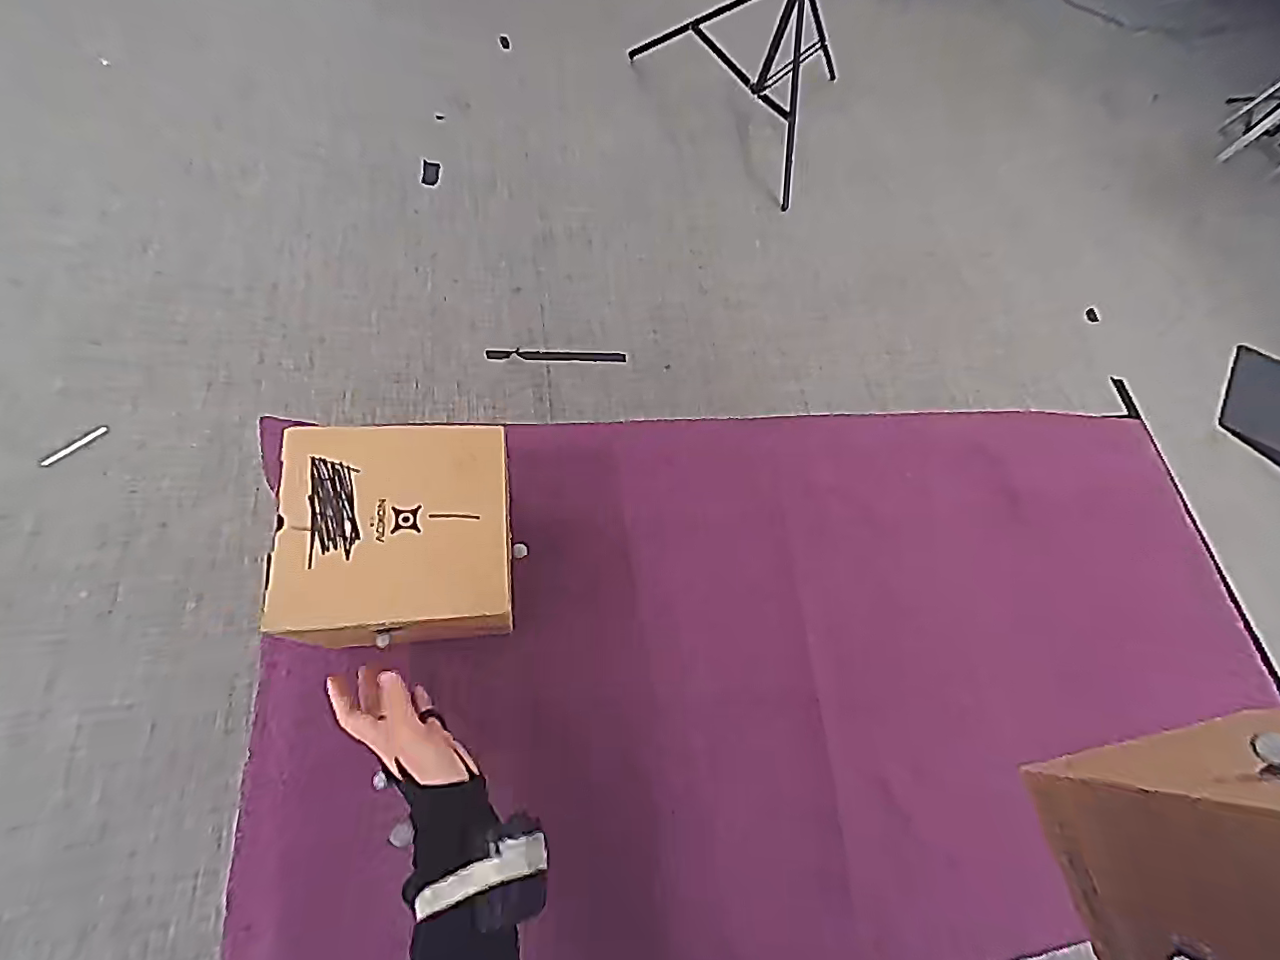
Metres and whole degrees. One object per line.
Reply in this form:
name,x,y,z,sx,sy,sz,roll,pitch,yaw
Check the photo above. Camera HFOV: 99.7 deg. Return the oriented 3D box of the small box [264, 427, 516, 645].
small box,-0.210,0.060,0.506,0.179,0.176,0.168,-2,71,-13
